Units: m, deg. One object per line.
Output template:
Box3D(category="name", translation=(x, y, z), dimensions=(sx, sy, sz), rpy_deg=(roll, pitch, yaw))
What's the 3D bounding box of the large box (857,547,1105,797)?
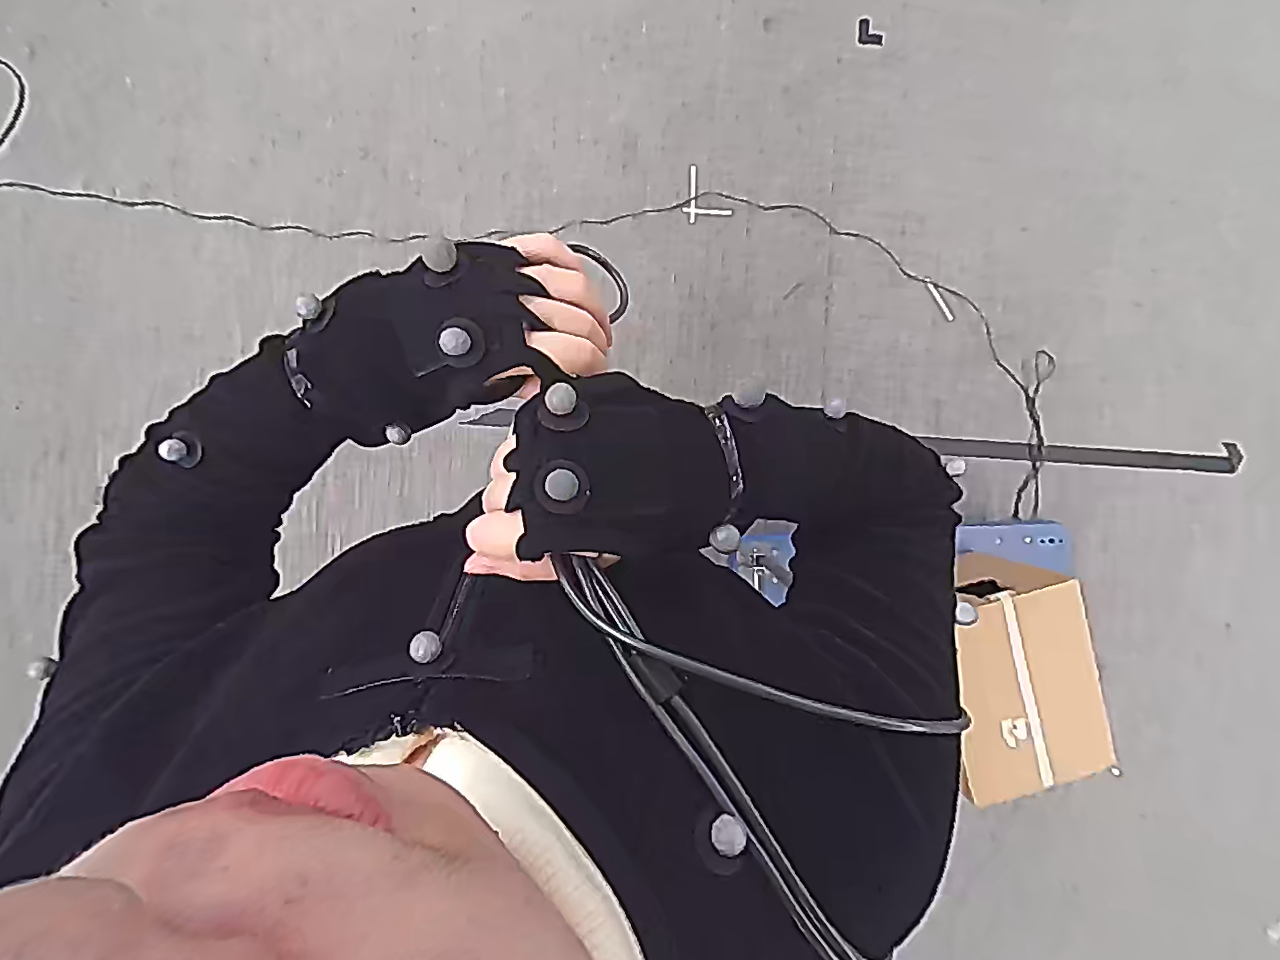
Box3D(category="large box", translation=(0.748, 0.405, 1.234), dimensions=(0.320, 0.320, 0.408), rpy_deg=(-14, 94, -2))
